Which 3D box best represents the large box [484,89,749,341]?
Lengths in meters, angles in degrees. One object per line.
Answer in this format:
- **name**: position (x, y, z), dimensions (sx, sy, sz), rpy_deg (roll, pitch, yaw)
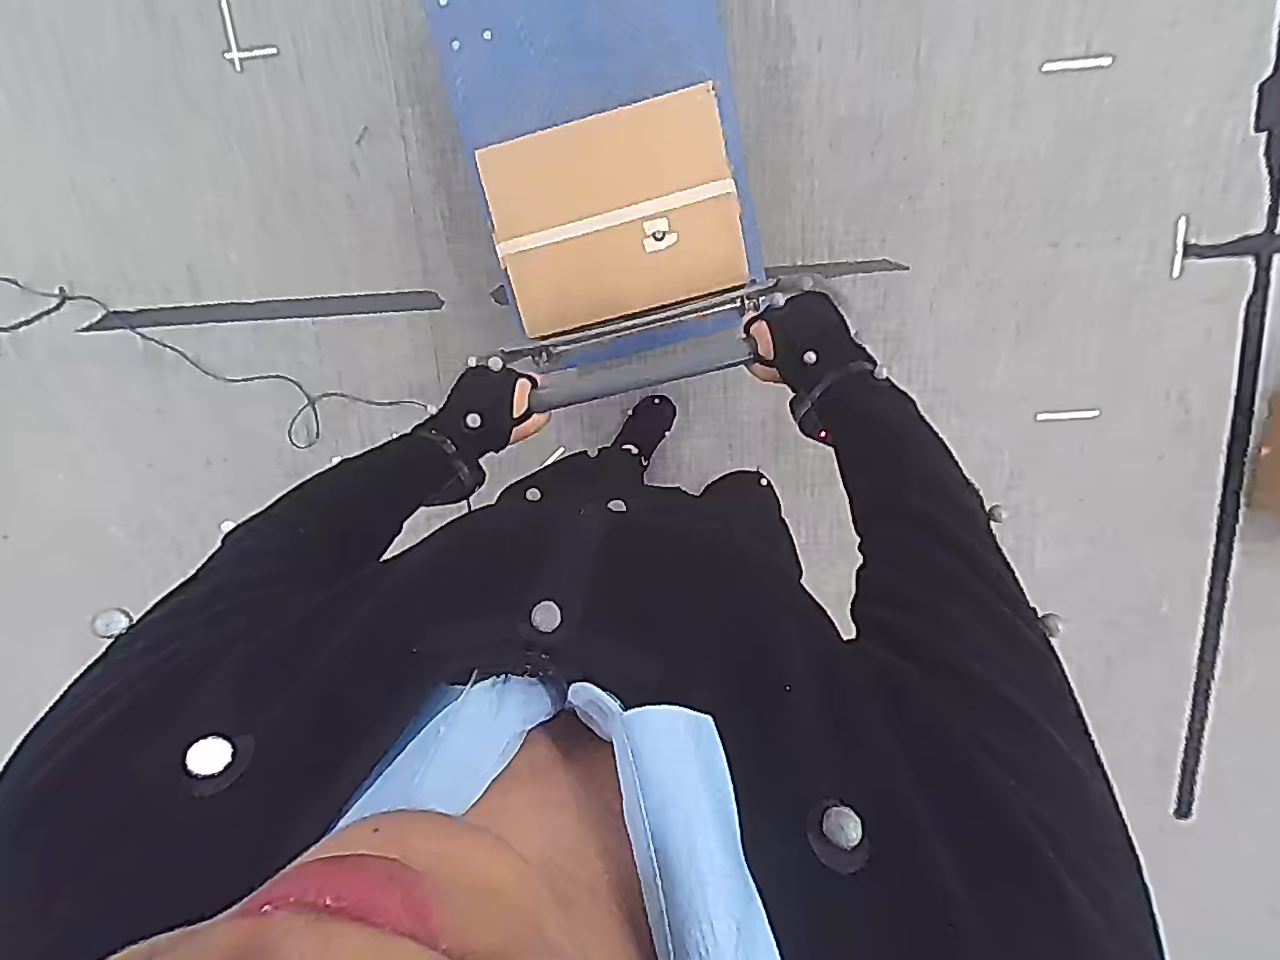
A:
- **large box**: position (-0.035, -0.480, 1.072), dimensions (0.408, 0.320, 0.320), rpy_deg (-14, 104, 4)
